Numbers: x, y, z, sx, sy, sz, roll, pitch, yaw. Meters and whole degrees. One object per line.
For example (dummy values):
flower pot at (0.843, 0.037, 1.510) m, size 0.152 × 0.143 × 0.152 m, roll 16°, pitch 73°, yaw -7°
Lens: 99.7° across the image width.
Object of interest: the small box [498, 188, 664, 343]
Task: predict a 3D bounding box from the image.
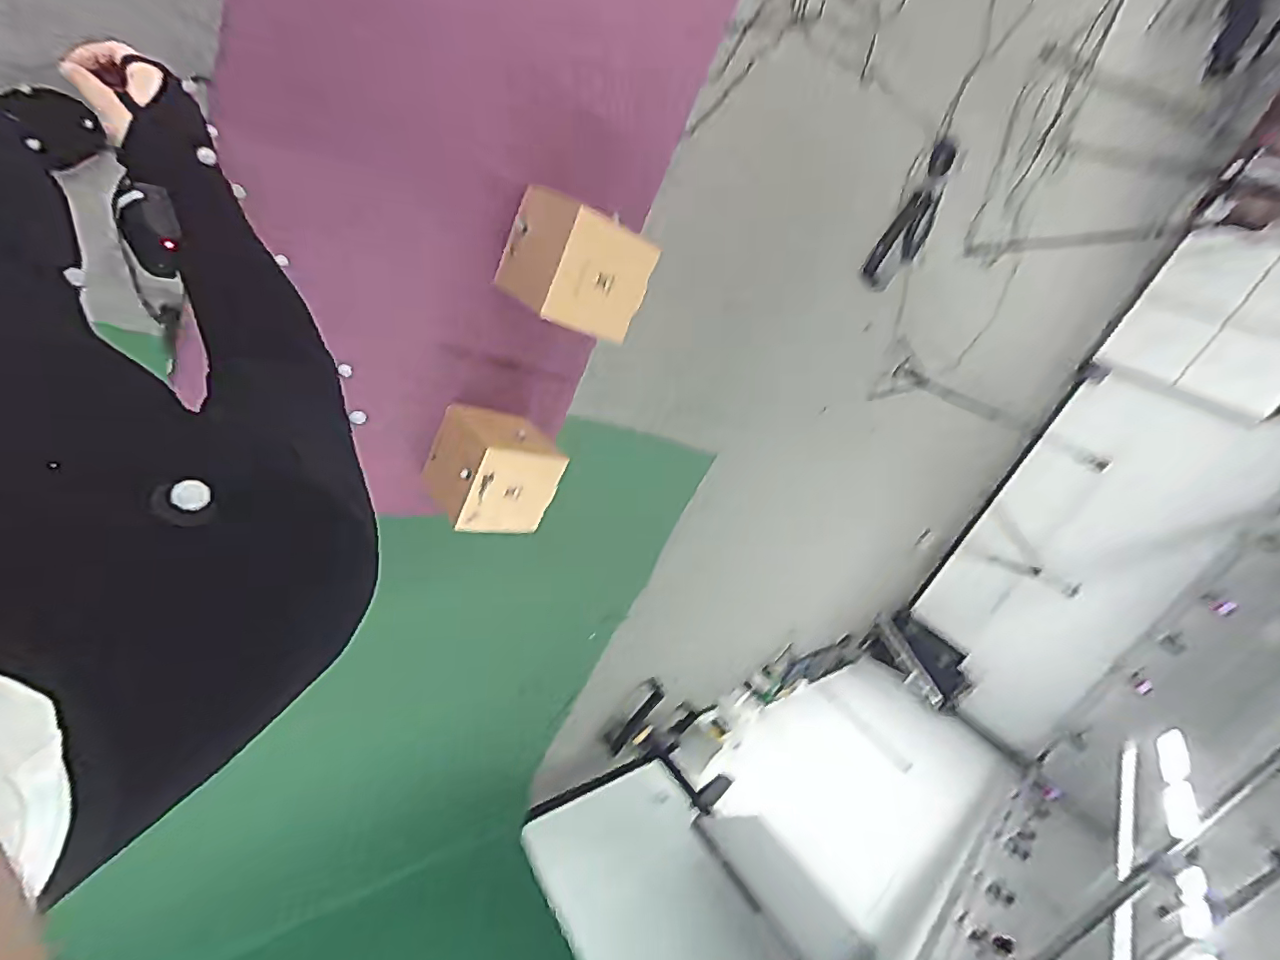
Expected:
small box at (-0.100, -0.351, 0.885) m, size 0.179 × 0.176 × 0.168 m, roll 7°, pitch 117°, yaw -46°

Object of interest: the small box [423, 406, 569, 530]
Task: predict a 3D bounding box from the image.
small box at (-0.272, -0.022, 1.007) m, size 0.179 × 0.176 × 0.168 m, roll 7°, pitch 116°, yaw -48°
